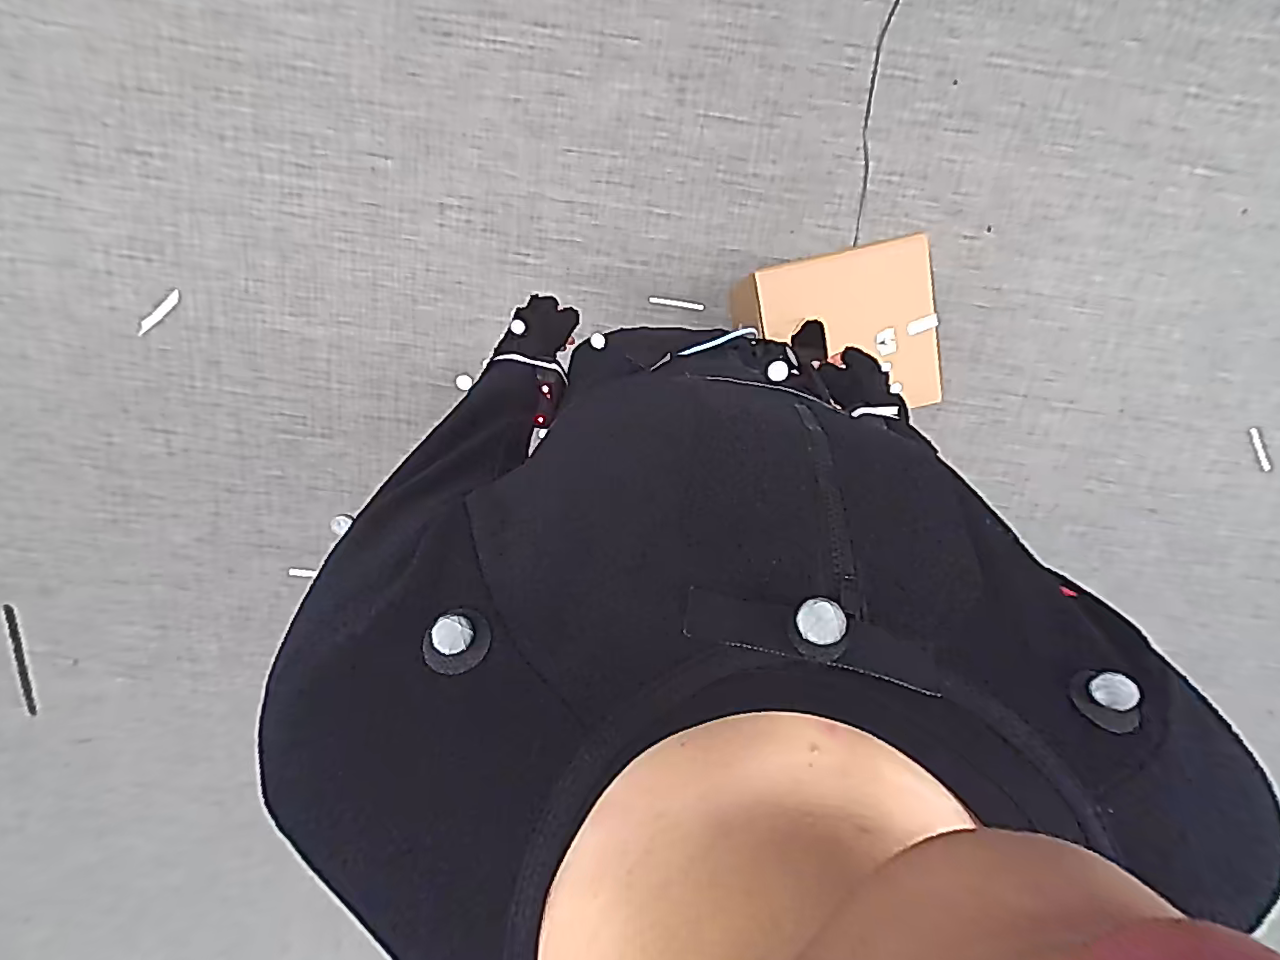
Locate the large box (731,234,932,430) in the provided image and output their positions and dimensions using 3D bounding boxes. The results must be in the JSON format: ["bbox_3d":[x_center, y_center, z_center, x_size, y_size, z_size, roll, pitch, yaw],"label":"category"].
[{"bbox_3d":[0.399,-0.318,1.207,0.320,0.408,0.320,-10,104,7],"label":"large box"}]
